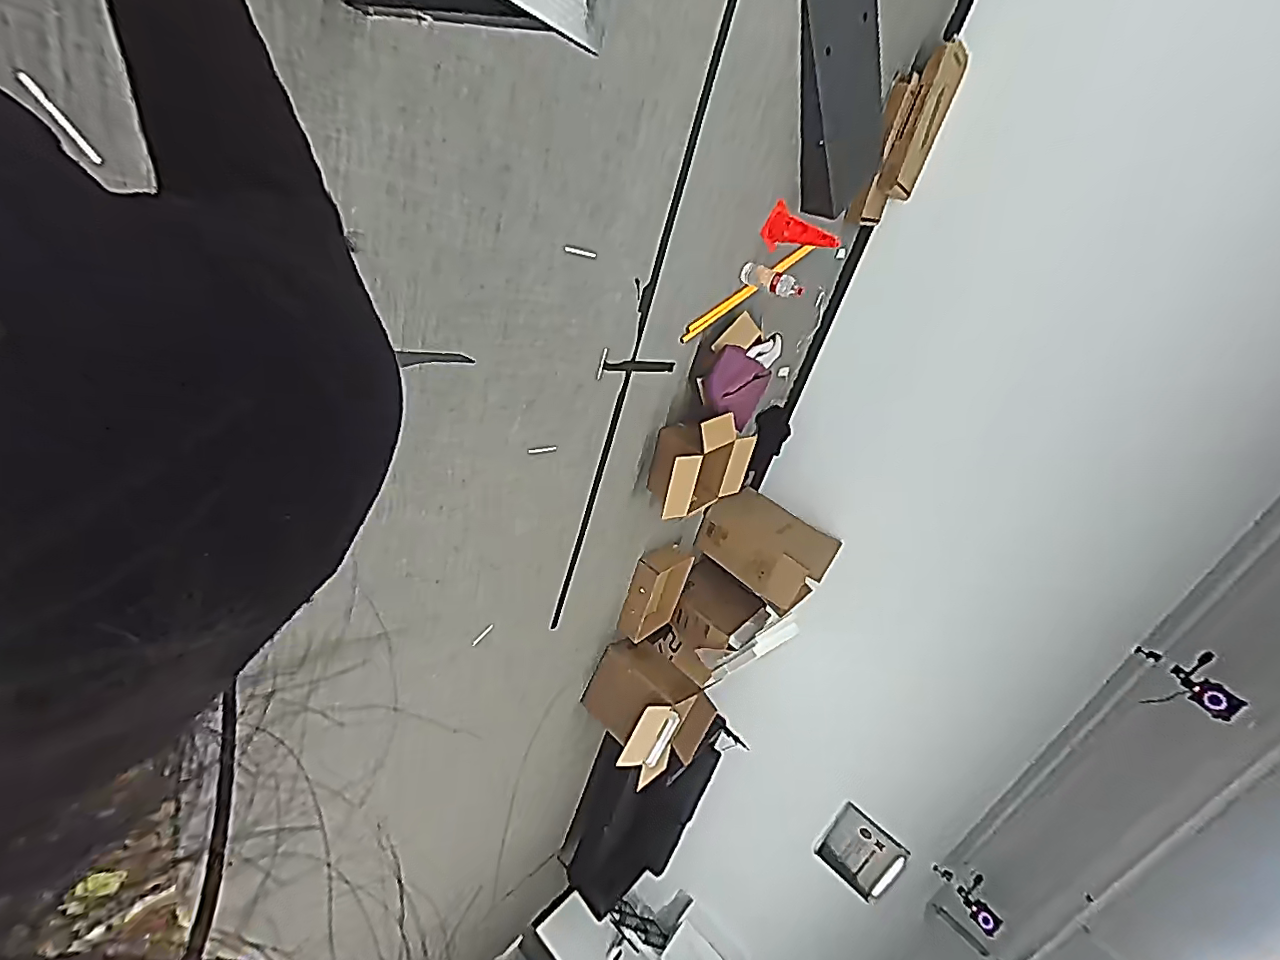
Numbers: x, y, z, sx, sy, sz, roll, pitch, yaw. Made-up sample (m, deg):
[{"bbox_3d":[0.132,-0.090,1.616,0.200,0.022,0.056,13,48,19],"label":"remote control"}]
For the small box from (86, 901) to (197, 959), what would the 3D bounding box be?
[{"bbox_3d":[-1.186,1.173,1.295,0.168,0.176,0.179,-17,128,-50],"label":"small box"}]
